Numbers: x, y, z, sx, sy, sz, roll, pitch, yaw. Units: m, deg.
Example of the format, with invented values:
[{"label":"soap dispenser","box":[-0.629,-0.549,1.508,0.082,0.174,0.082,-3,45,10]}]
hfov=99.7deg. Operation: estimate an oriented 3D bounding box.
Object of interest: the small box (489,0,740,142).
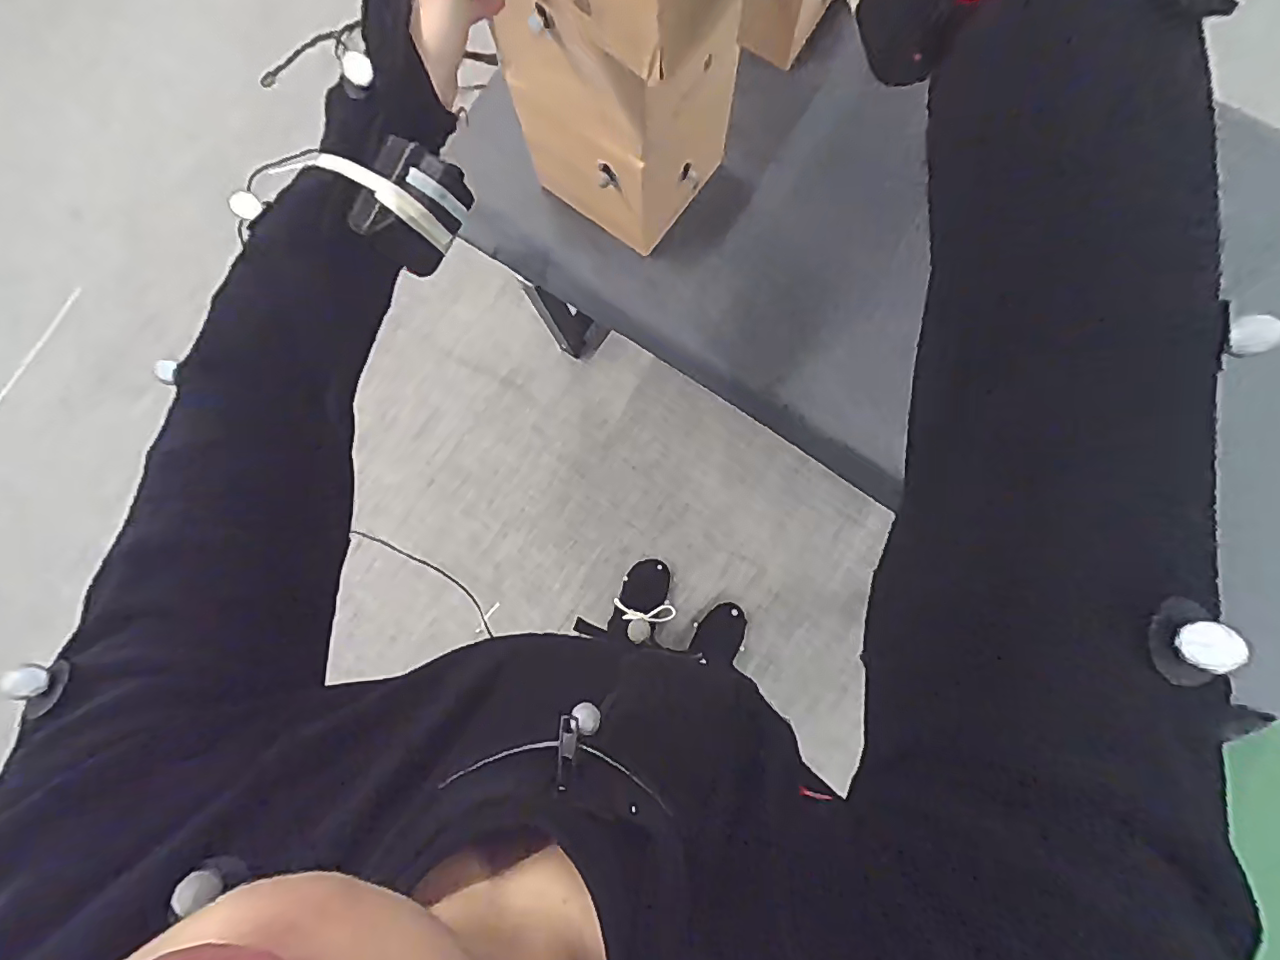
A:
[{"label":"small box","box":[-0.023,-0.434,0.453,0.179,0.176,0.168,33,86,5]}]

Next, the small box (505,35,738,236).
[{"label":"small box","box":[-0.016,-0.413,0.615,0.179,0.176,0.168,37,86,5]}]

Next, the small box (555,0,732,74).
[{"label":"small box","box":[0.003,-0.359,0.251,0.168,0.176,0.179,39,93,3]}]
